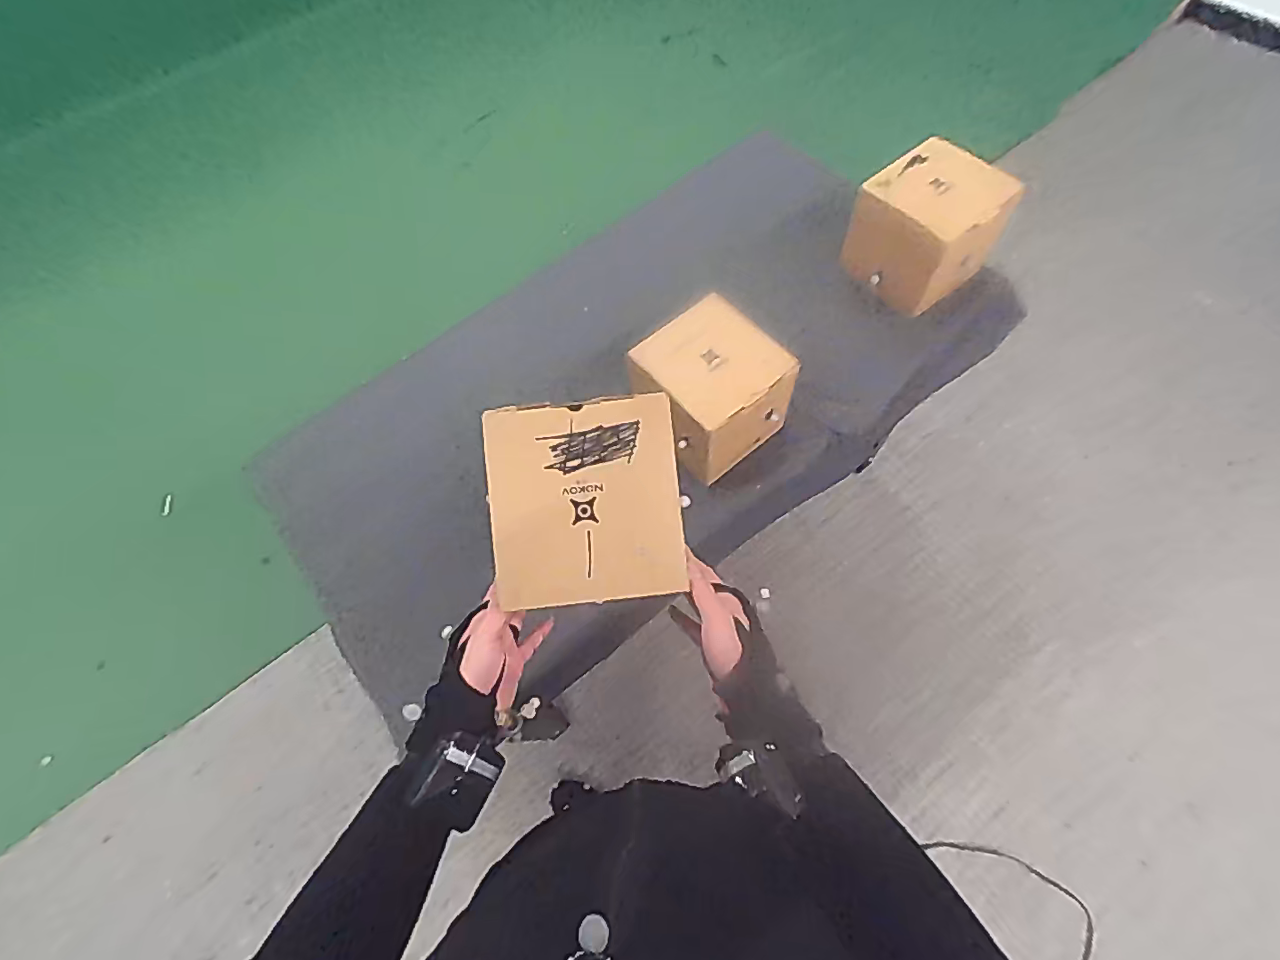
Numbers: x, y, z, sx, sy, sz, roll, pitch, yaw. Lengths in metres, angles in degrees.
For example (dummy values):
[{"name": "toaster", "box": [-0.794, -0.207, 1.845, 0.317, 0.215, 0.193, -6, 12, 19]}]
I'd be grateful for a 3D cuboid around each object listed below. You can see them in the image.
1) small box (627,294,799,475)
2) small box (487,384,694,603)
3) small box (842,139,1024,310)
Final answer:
[{"name": "small box", "box": [0.104, -0.130, 0.801, 0.168, 0.176, 0.179, -38, 66, -14]}, {"name": "small box", "box": [-0.044, 0.016, 0.533, 0.168, 0.176, 0.179, -6, 86, -1]}, {"name": "small box", "box": [0.470, -0.412, 0.900, 0.168, 0.176, 0.179, -36, 67, -9]}]
